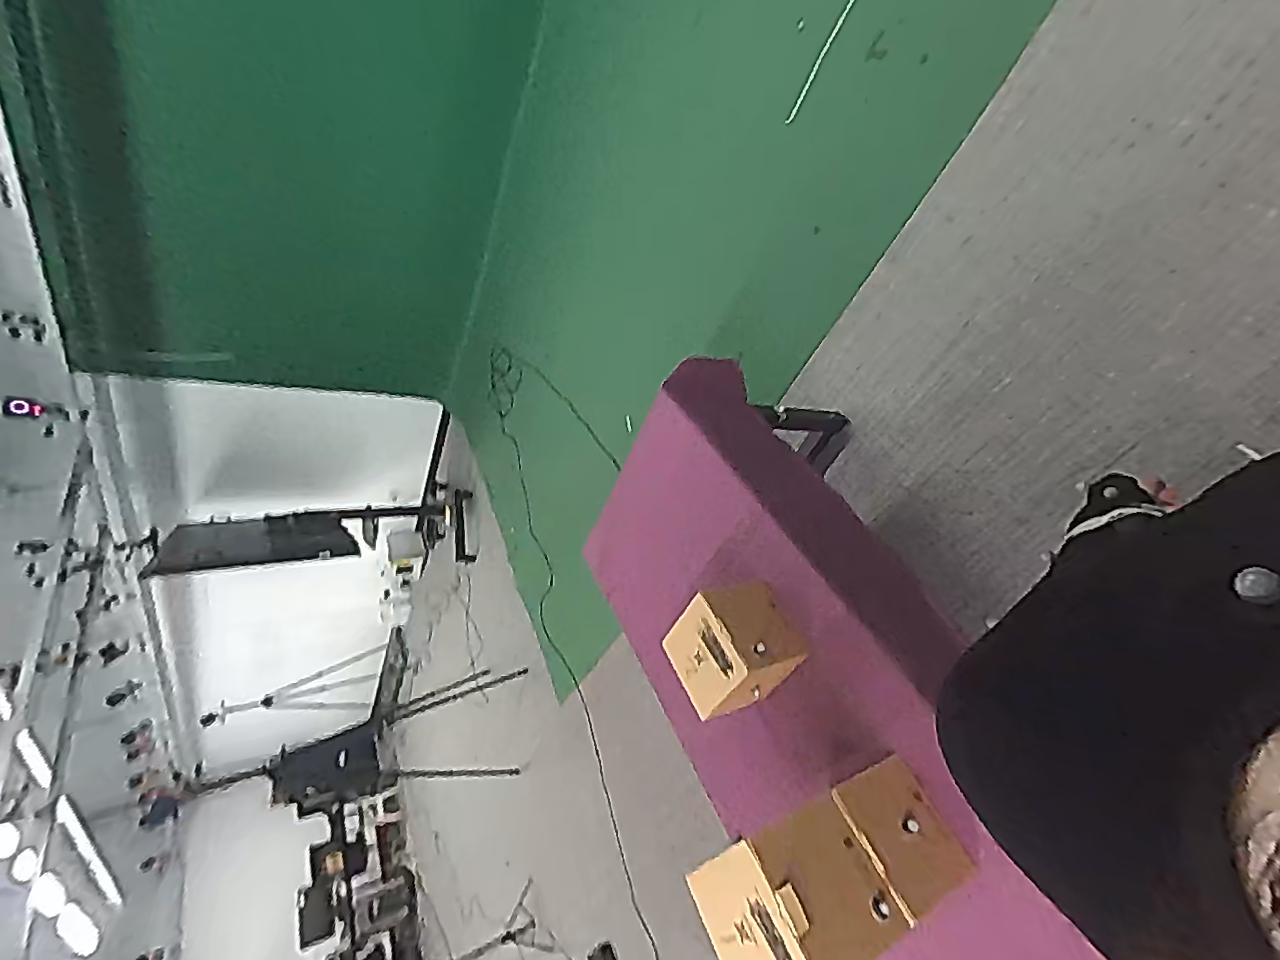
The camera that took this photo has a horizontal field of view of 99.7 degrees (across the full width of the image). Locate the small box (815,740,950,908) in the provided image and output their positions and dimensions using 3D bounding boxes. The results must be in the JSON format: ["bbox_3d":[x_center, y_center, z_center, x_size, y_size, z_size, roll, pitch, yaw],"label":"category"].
[{"bbox_3d":[0.334,0.530,0.826,0.168,0.176,0.179,58,134,34],"label":"small box"}]

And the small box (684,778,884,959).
[{"bbox_3d":[0.197,0.540,0.734,0.168,0.176,0.179,59,136,33],"label":"small box"}]
